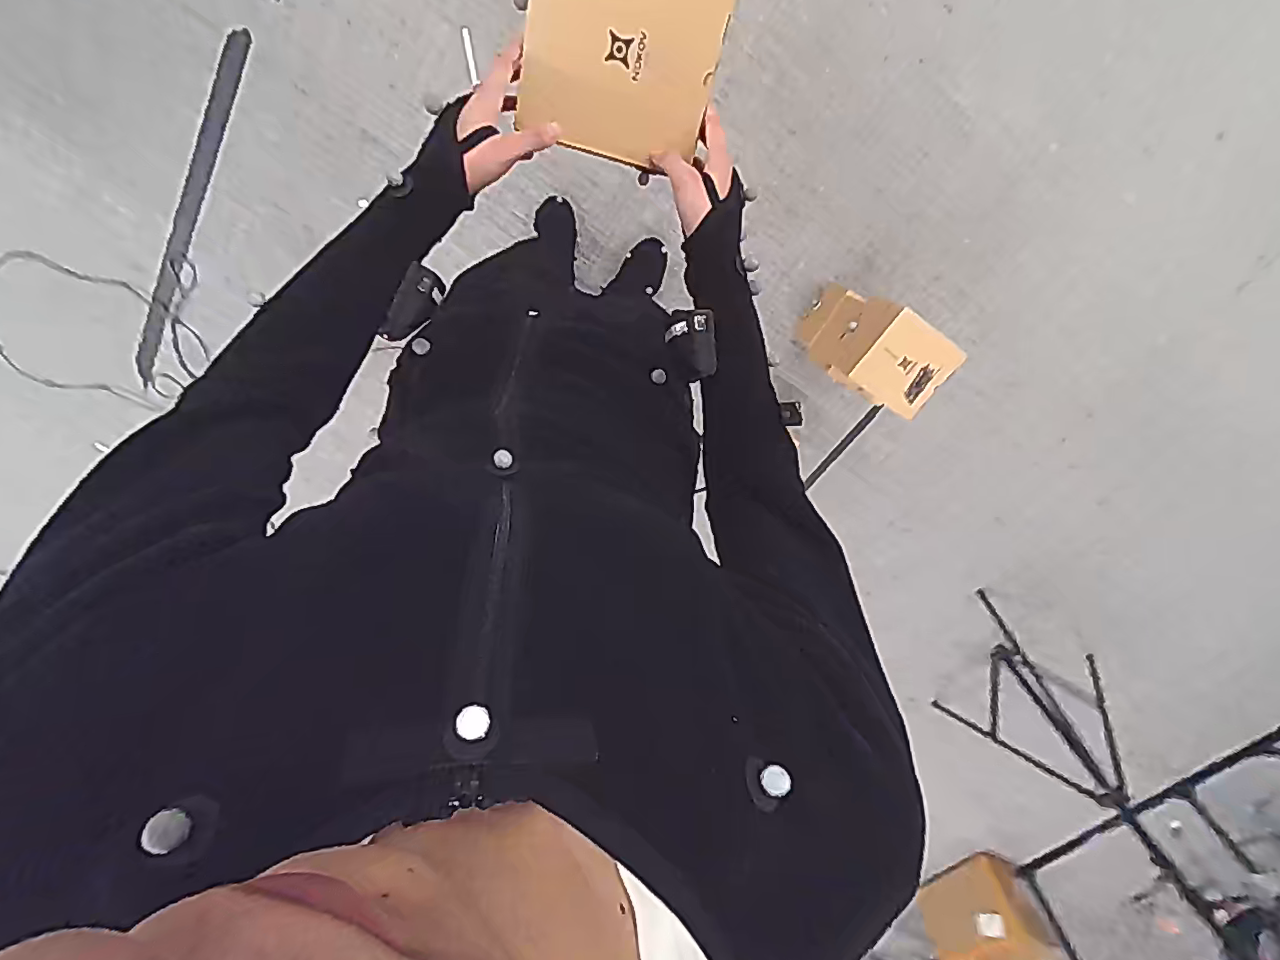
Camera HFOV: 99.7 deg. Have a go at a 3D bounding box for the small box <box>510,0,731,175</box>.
[{"bbox_3d":[-0.030,-0.420,0.543,0.179,0.176,0.168,6,120,-16],"label":"small box"}]

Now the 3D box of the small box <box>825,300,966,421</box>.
[{"bbox_3d":[0.527,-0.260,1.140,0.179,0.176,0.168,31,112,-14],"label":"small box"}]

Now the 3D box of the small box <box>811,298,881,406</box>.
[{"bbox_3d":[0.539,-0.313,1.297,0.168,0.176,0.179,27,114,-13],"label":"small box"}]

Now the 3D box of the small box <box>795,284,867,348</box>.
[{"bbox_3d":[0.544,-0.401,1.436,0.179,0.176,0.168,28,114,-14],"label":"small box"}]
